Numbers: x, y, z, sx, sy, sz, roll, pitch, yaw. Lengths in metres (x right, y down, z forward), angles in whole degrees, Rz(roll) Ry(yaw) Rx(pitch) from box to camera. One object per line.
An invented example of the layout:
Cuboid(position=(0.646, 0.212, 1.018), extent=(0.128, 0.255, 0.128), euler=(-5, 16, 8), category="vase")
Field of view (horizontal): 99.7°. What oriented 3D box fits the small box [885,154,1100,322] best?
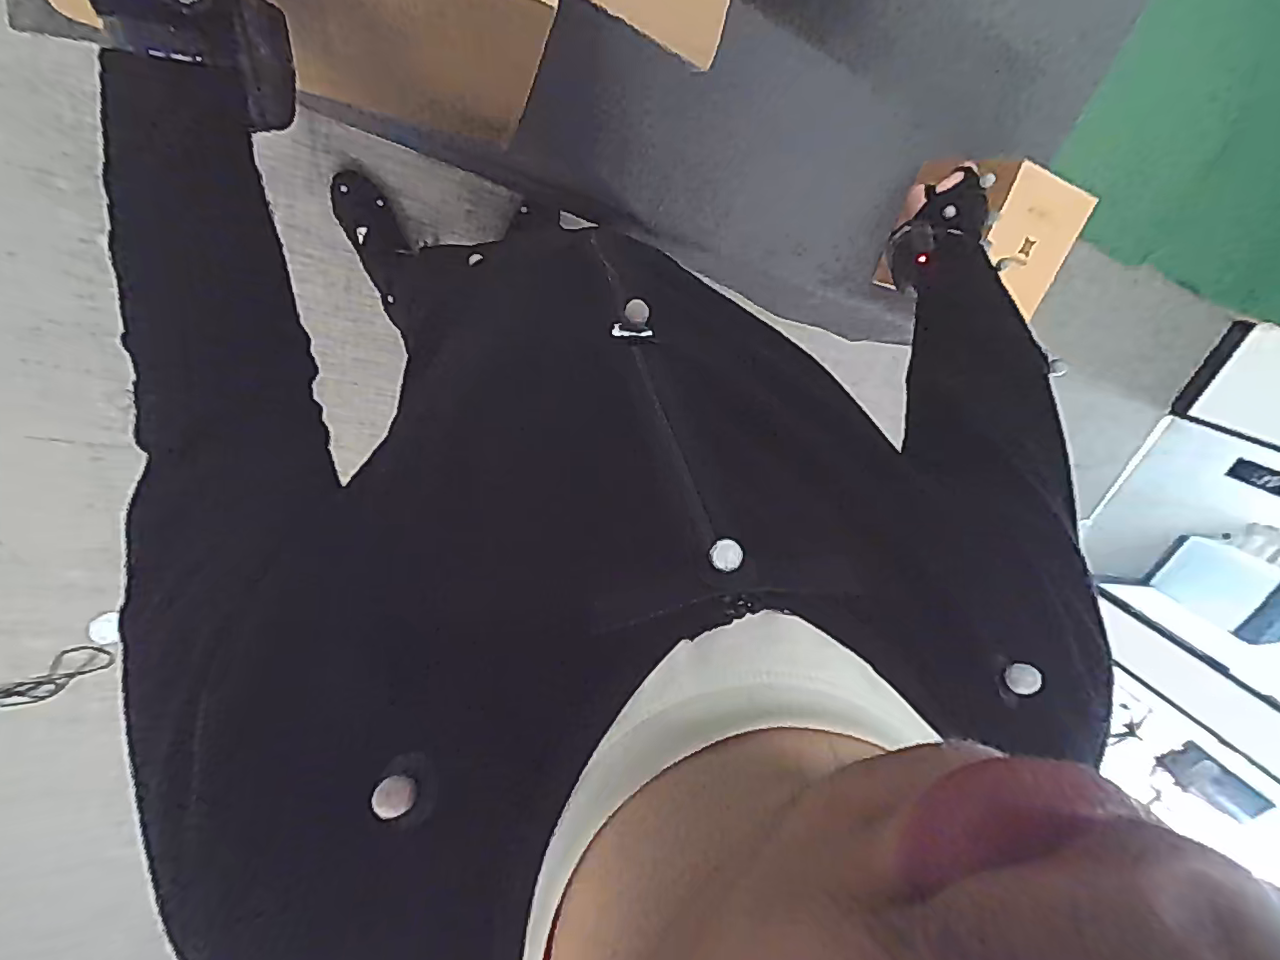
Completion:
Cuboid(position=(0.498, -0.353, 0.793), extent=(0.168, 0.176, 0.179), euler=(5, 116, -25), category="small box")
